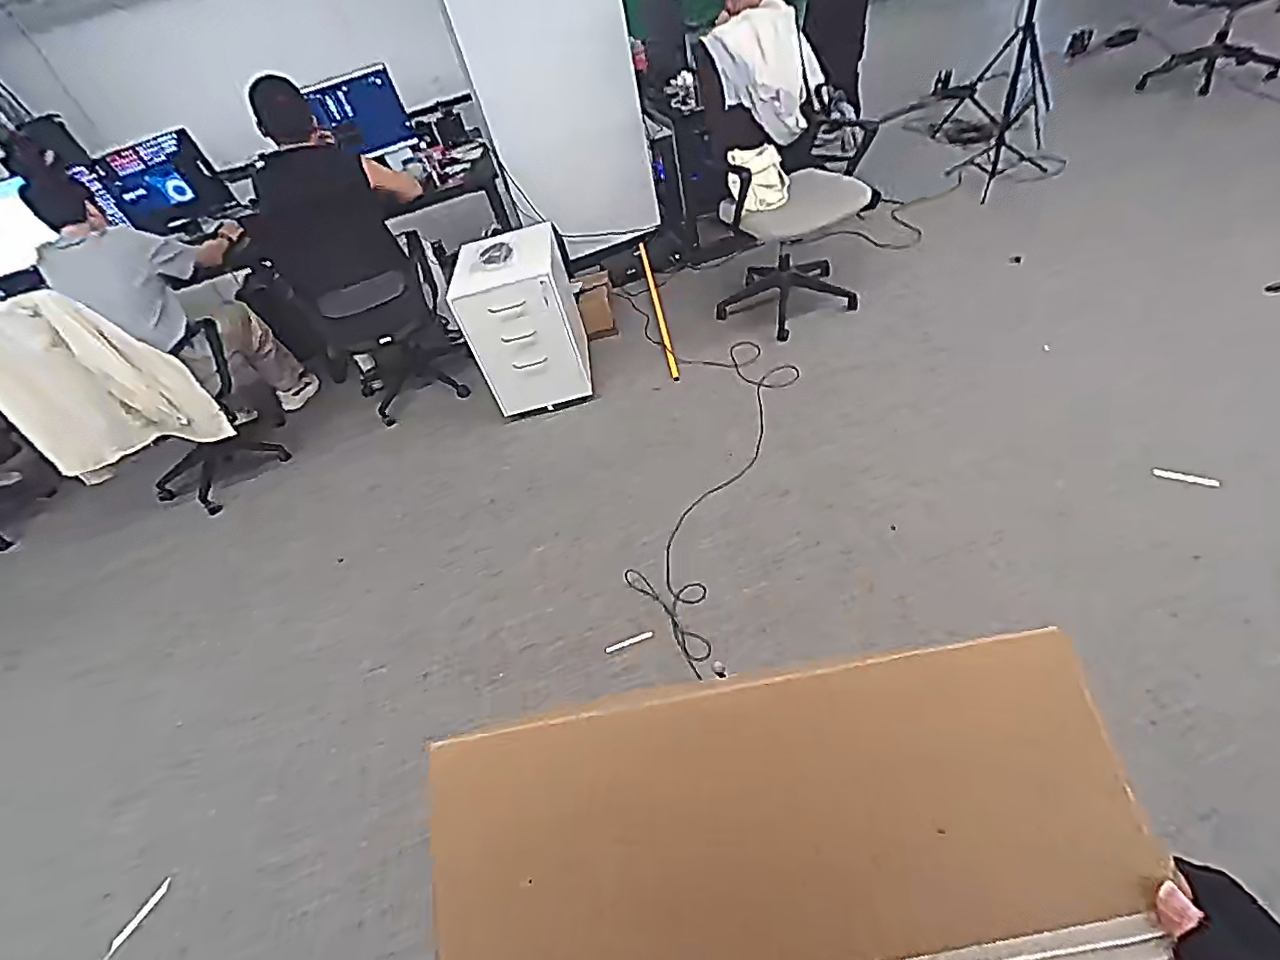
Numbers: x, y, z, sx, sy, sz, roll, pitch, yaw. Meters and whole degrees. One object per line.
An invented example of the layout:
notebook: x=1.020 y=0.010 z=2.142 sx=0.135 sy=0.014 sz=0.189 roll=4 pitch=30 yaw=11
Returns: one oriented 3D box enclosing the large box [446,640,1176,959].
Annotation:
large box: x=0.107 y=0.331 z=0.440 sx=0.408 sy=0.320 sz=0.320 roll=-11 pitch=70 yaw=0
